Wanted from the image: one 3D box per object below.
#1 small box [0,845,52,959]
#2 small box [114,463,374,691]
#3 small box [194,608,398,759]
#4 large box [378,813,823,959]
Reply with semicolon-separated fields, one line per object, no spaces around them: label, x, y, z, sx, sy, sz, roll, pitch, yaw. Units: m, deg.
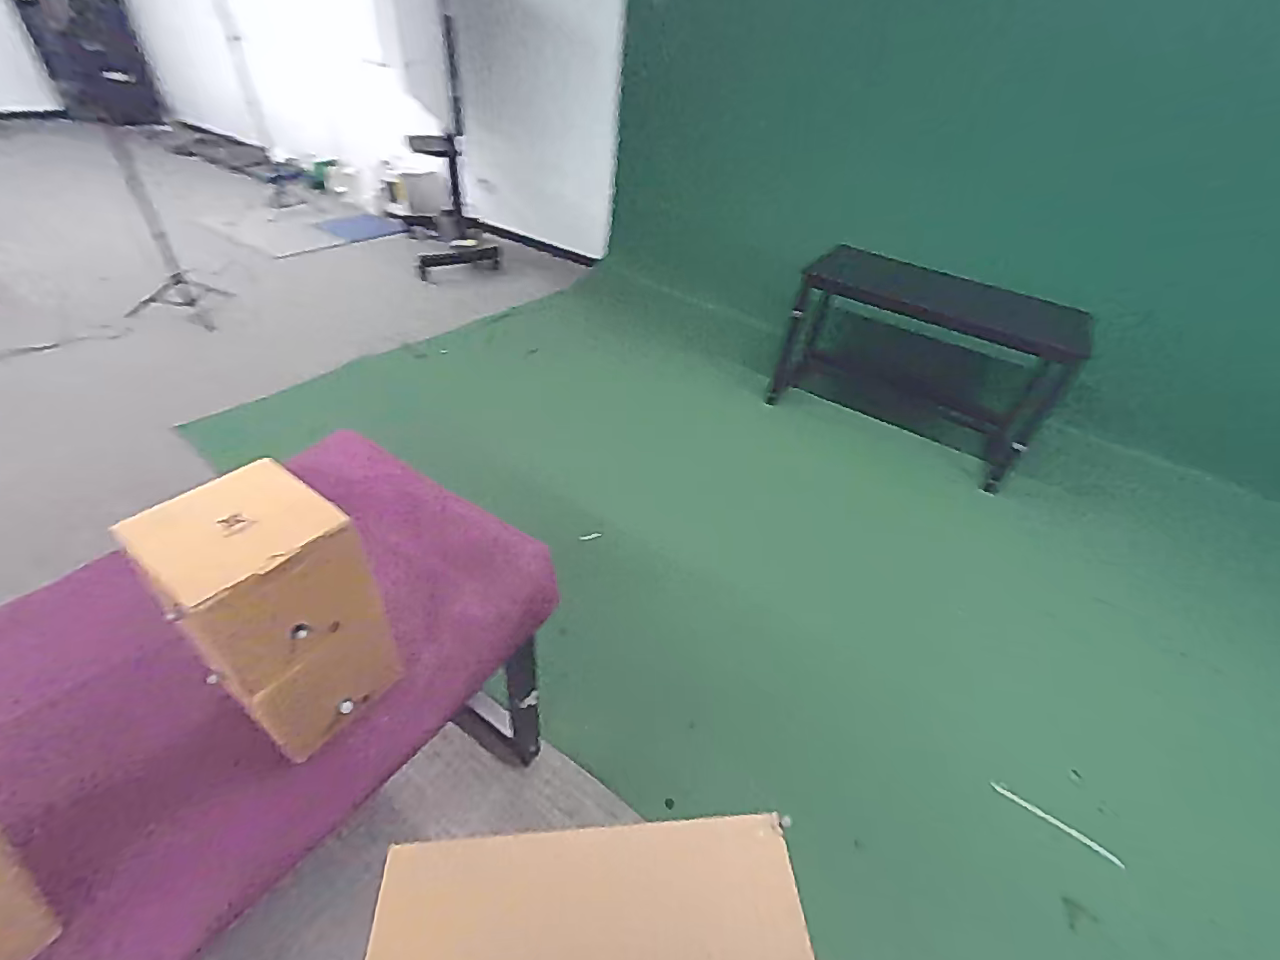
small box;-0.709;0.417;0.485;0.179;0.176;0.168;25;43;21
small box;-0.454;0.113;0.644;0.179;0.176;0.168;27;43;22
small box;-0.467;0.241;0.743;0.179;0.176;0.168;27;43;22
large box;-0.042;0.573;0.544;0.408;0.320;0.320;1;42;-8
